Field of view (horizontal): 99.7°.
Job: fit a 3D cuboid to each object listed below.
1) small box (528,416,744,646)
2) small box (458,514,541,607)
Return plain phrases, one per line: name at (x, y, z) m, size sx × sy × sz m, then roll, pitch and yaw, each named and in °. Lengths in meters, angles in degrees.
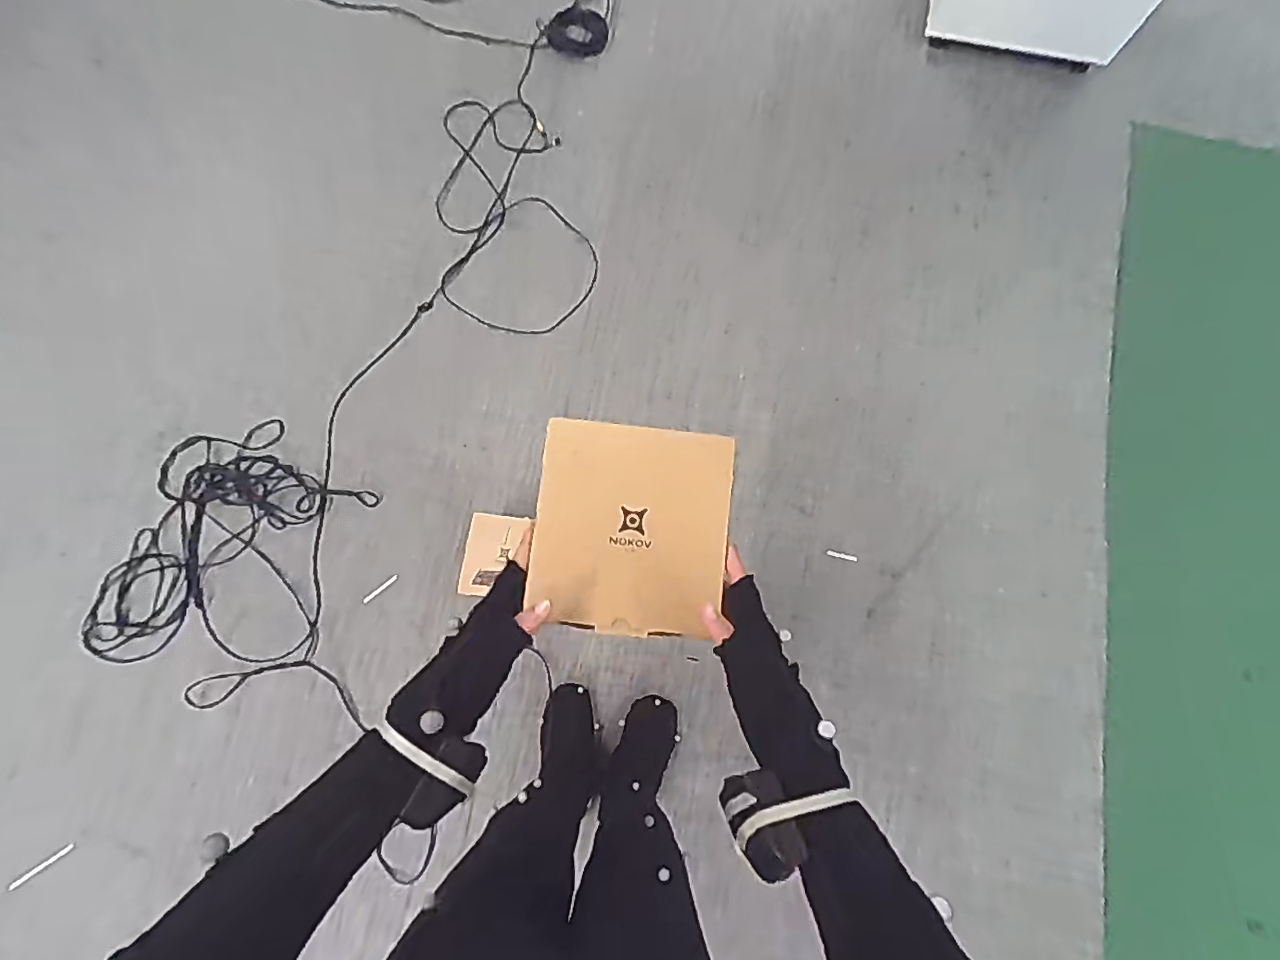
small box at (-0.005, 0.050, 0.523) m, size 0.168 × 0.176 × 0.179 m, roll 6°, pitch 83°, yaw -2°
small box at (-0.281, 0.183, 1.201) m, size 0.168 × 0.176 × 0.179 m, roll 8°, pitch 77°, yaw 3°
